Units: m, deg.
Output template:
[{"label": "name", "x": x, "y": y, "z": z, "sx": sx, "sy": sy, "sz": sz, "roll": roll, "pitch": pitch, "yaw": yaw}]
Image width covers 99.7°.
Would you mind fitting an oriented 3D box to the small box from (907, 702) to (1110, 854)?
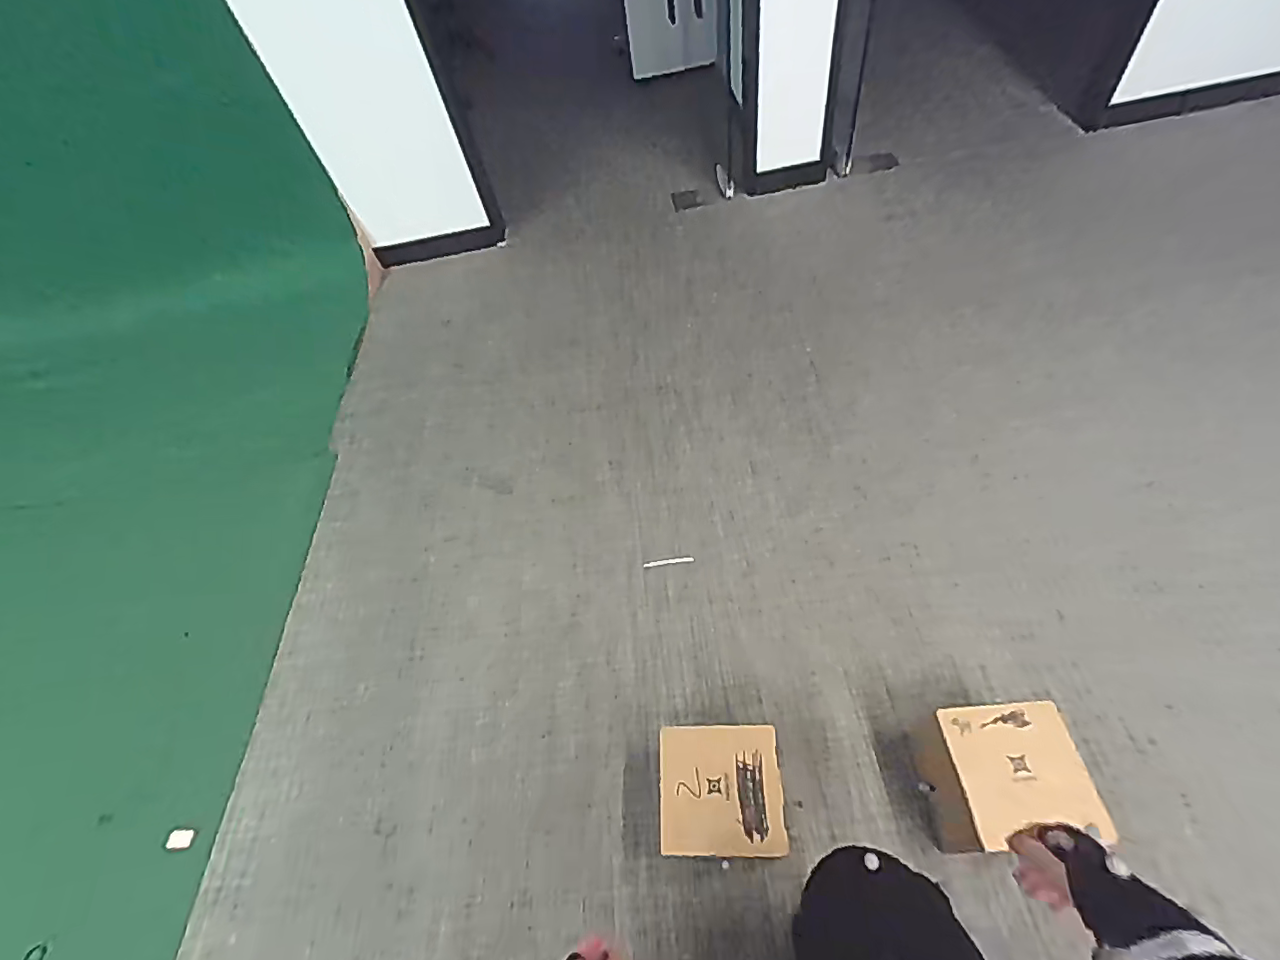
[{"label": "small box", "x": 0.521, "y": 0.442, "z": 0.798, "sx": 0.168, "sy": 0.176, "sz": 0.179, "roll": -7, "pitch": 54, "yaw": 5}]
